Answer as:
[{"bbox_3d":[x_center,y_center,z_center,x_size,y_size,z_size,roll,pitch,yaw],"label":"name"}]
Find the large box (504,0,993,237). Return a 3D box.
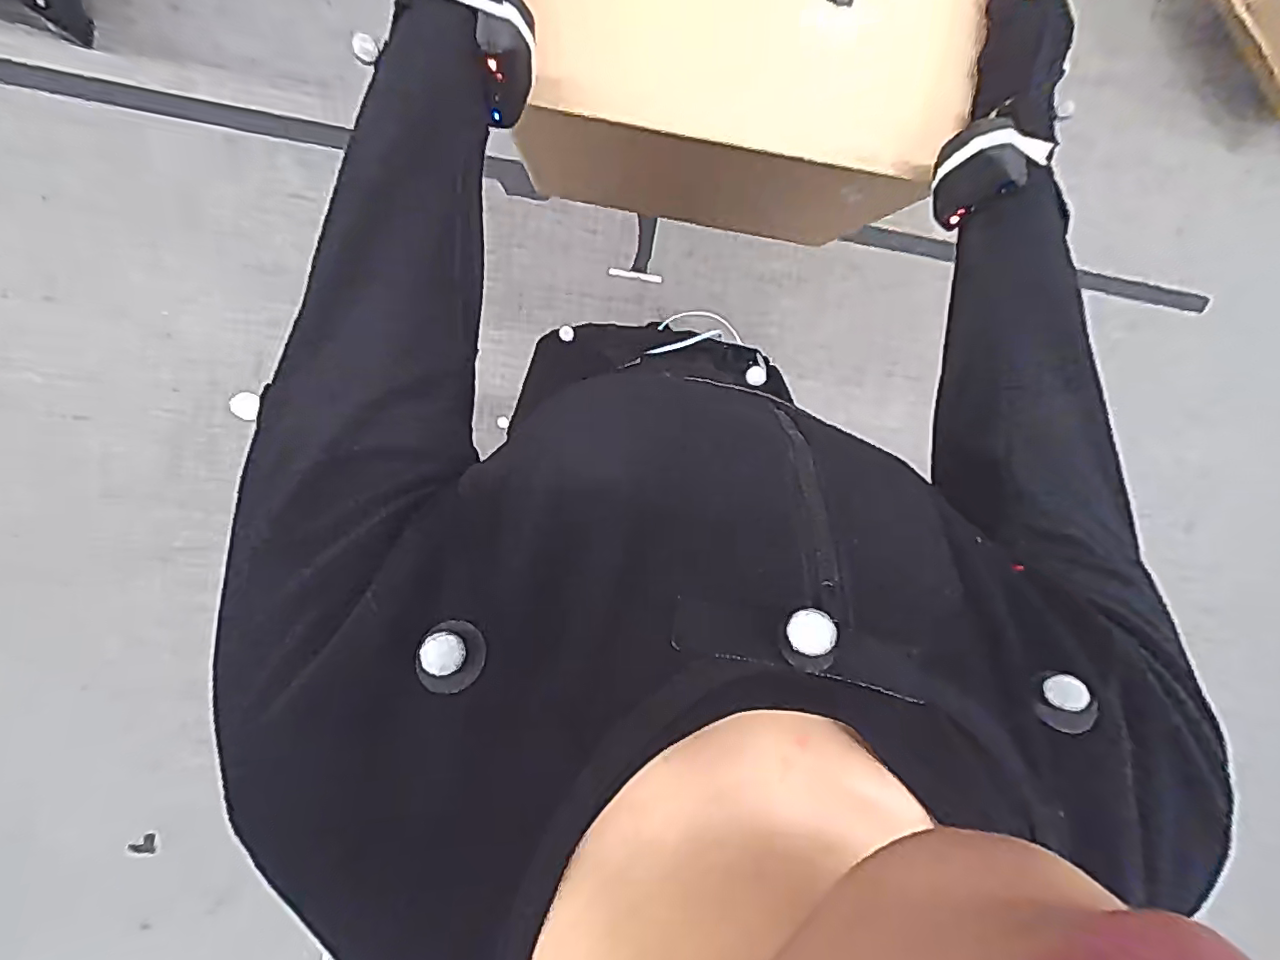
[{"bbox_3d":[0.092,-0.478,0.574,0.408,0.320,0.320,8,105,-6],"label":"large box"}]
